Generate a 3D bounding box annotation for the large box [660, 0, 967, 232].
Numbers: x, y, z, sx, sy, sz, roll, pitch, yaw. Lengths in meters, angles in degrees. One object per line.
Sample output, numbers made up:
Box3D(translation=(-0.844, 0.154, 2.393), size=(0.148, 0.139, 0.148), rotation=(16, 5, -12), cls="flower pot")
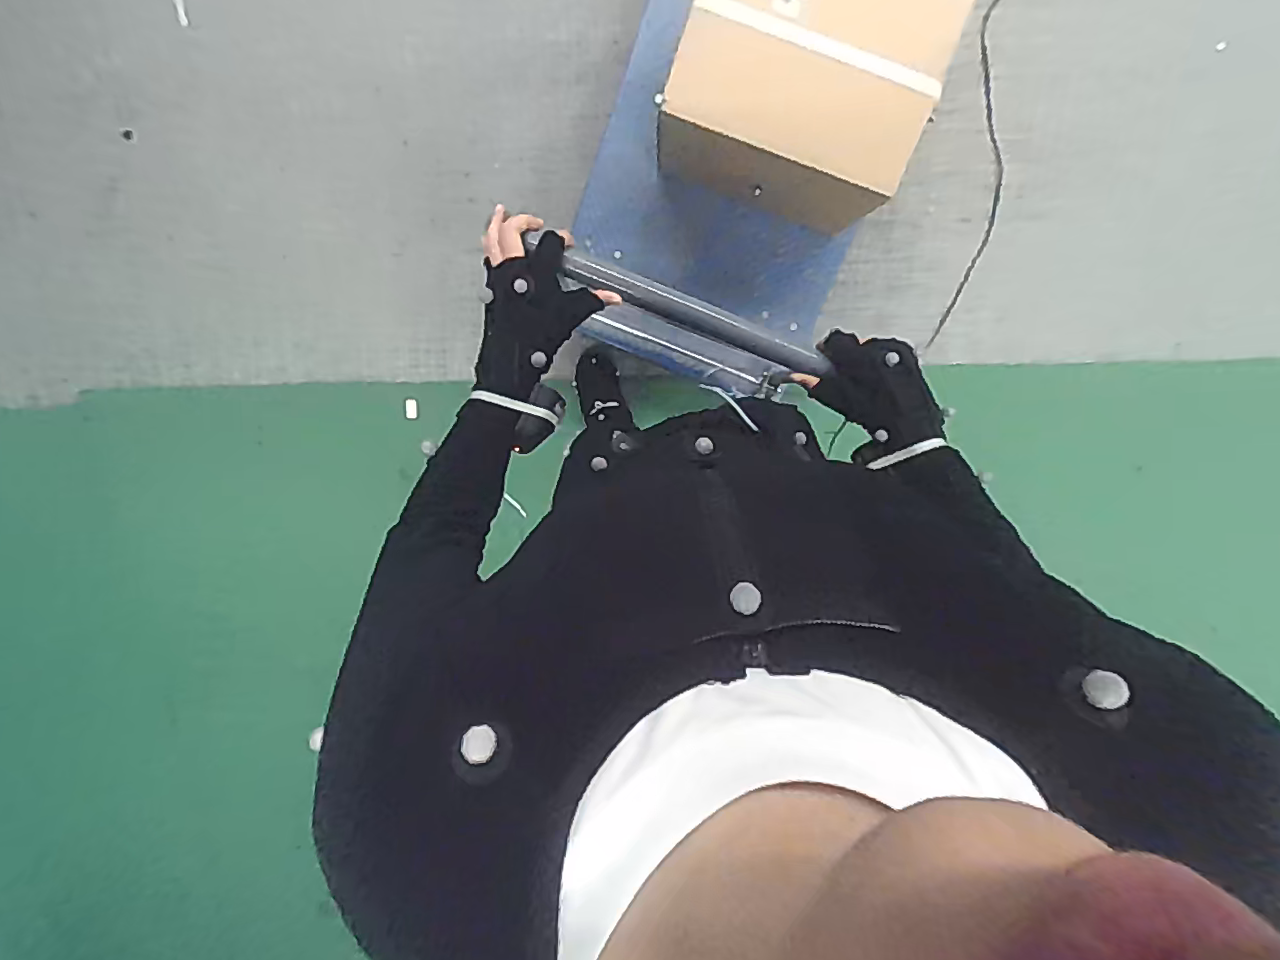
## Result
Box3D(translation=(0.273, -0.694, 0.983), size=(0.408, 0.320, 0.320), rotation=(19, 102, -2), cls="large box")
